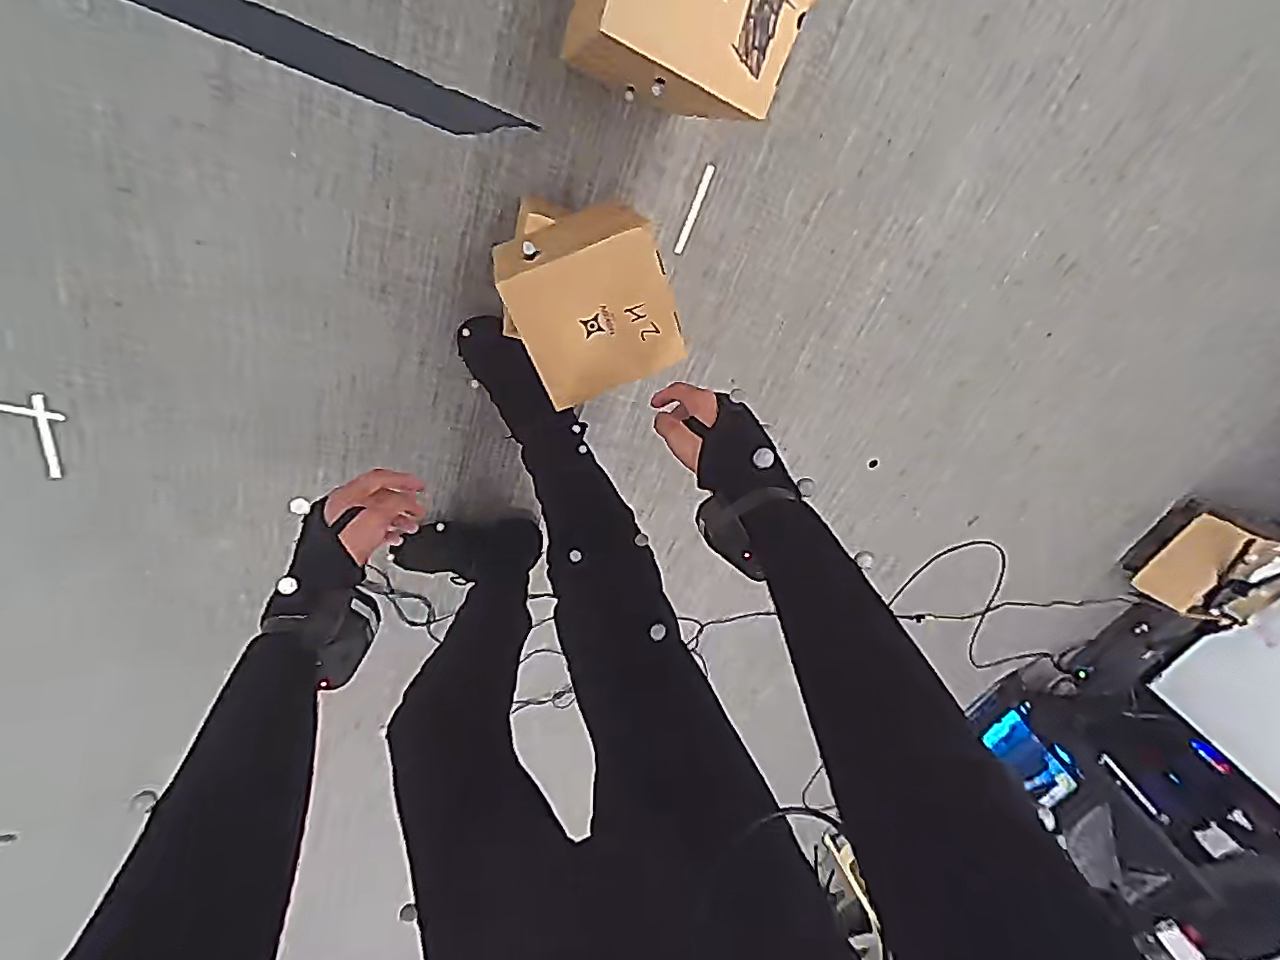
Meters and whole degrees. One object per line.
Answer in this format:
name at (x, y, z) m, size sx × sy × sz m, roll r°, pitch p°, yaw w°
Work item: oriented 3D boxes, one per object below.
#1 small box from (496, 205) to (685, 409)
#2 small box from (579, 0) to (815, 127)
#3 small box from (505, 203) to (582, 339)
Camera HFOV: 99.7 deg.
small box at (-0.065, -0.220, 0.675) m, size 0.179 × 0.176 × 0.168 m, roll -23°, pitch 127°, yaw -1°
small box at (0.054, -0.476, 0.528) m, size 0.179 × 0.176 × 0.168 m, roll 13°, pitch 119°, yaw -22°
small box at (-0.103, -0.300, 0.813) m, size 0.179 × 0.176 × 0.168 m, roll 8°, pitch 121°, yaw -21°
